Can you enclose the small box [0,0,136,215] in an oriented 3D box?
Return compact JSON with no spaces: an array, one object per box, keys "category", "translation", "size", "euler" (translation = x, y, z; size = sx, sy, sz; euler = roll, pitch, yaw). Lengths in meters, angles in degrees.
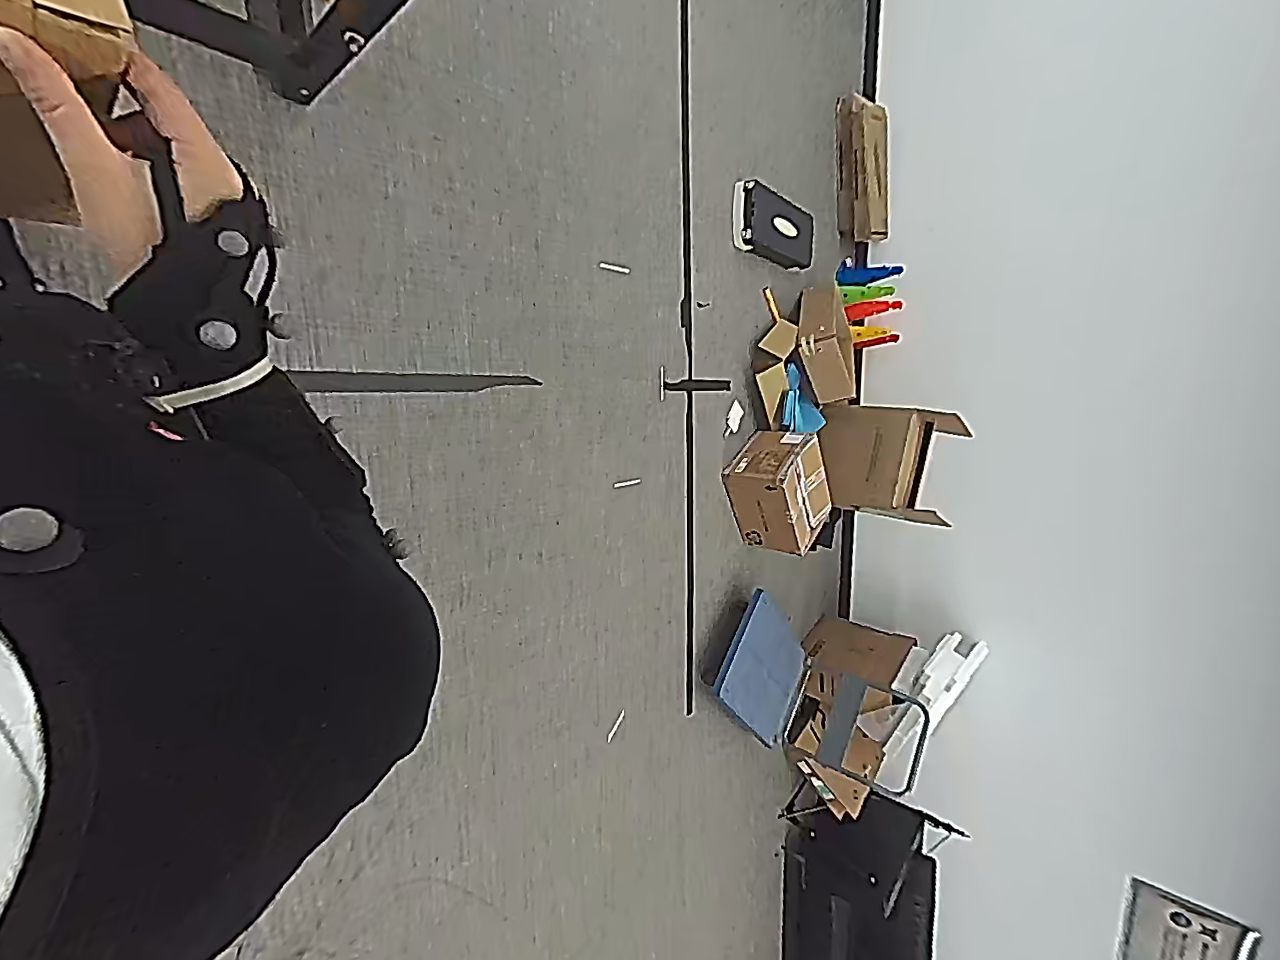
[{"category":"small box","translation":[-0.356,-0.244,0.227],"size":[0.168,0.176,0.179],"euler":[-18,92,-53]}]
